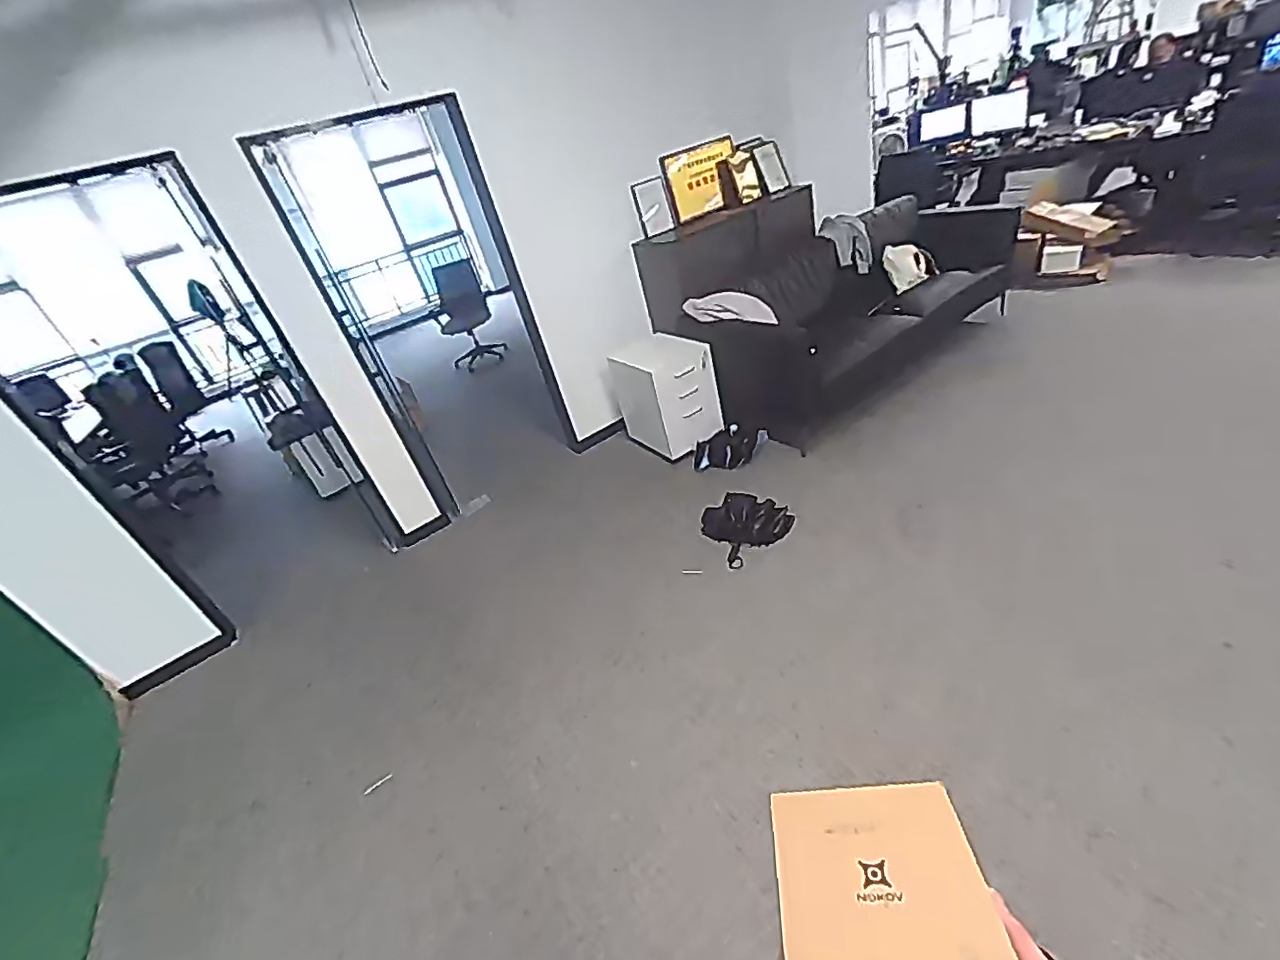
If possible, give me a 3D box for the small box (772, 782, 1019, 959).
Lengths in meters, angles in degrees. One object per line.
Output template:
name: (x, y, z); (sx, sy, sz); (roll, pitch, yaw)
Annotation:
small box: (0.219, 0.407, 0.478); (0.168, 0.176, 0.179); (-10, 18, 12)
